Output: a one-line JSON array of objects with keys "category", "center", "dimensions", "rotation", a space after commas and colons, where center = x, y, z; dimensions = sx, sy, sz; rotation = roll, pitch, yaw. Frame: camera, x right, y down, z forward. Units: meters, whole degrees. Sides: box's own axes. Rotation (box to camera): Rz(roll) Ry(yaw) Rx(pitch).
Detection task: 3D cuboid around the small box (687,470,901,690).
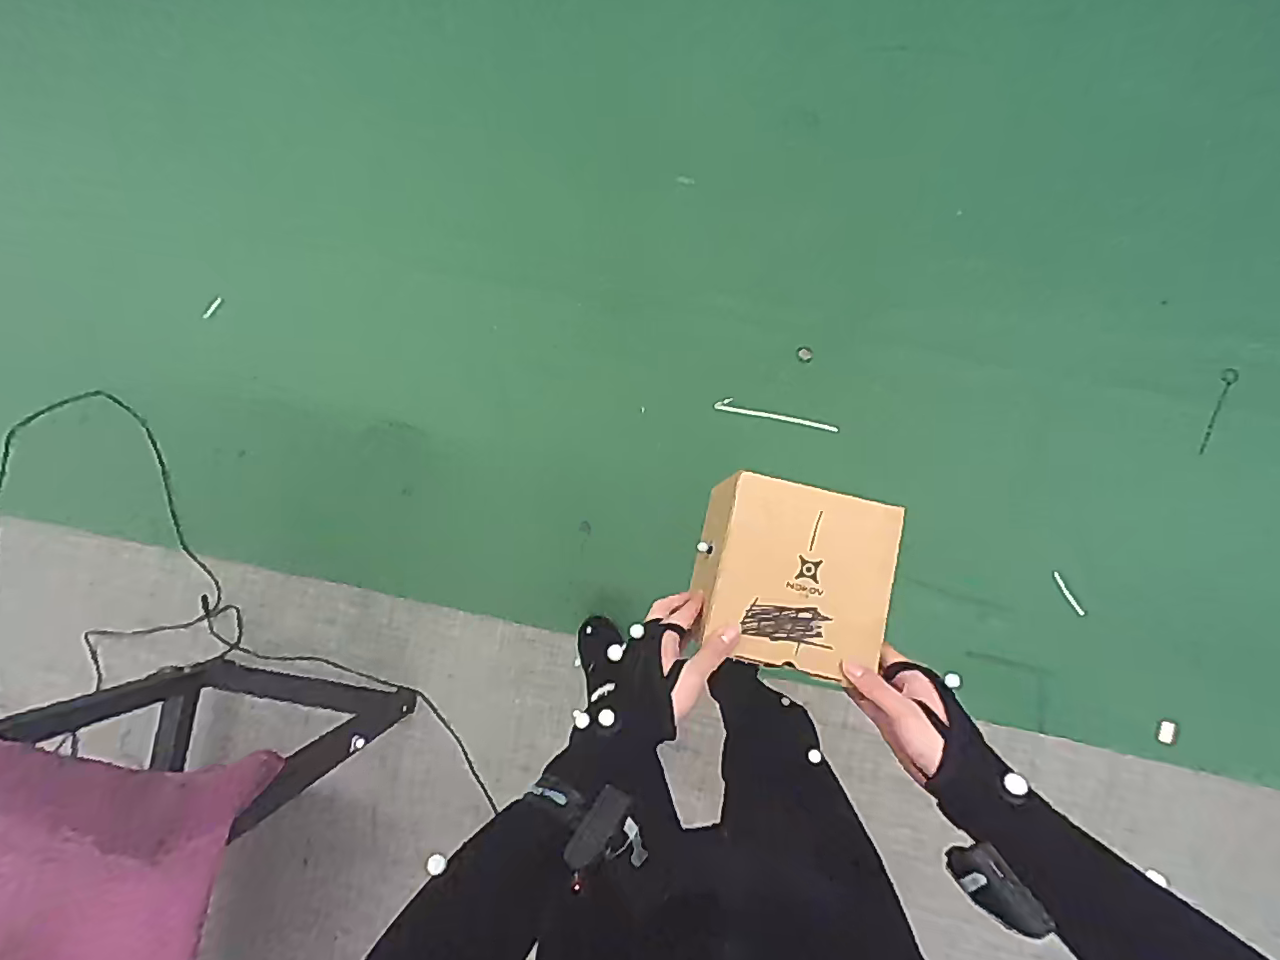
[{"category": "small box", "center": [0.152, 0.104, 0.591], "dimensions": [0.168, 0.176, 0.179], "rotation": [14, 82, 0]}]
